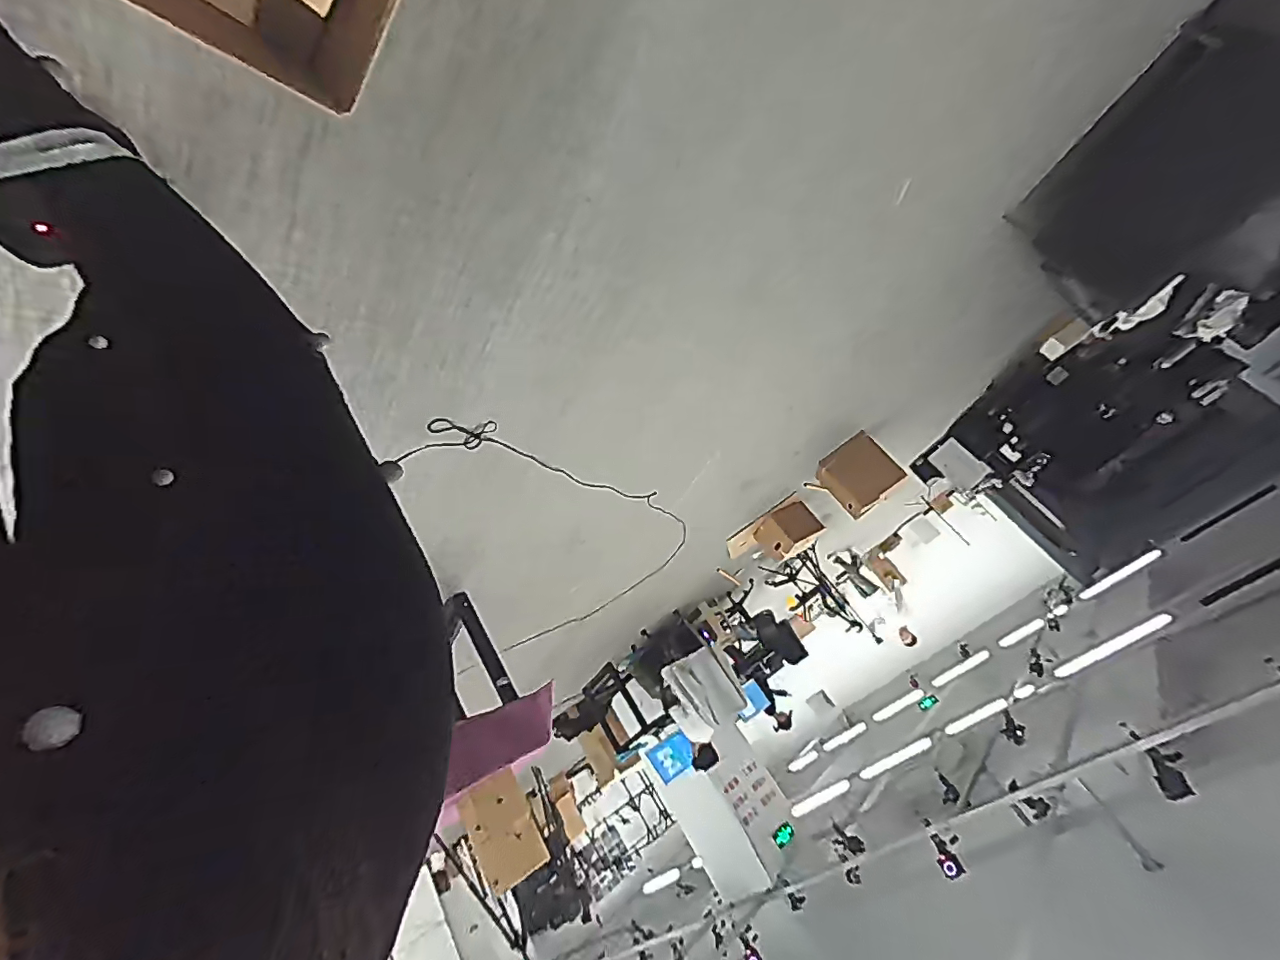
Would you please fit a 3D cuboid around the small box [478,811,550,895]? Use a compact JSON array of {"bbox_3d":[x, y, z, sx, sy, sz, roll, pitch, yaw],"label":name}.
[{"bbox_3d":[-0.449,1.302,1.899,0.168,0.176,0.179,-10,145,-45],"label":"small box"}]
